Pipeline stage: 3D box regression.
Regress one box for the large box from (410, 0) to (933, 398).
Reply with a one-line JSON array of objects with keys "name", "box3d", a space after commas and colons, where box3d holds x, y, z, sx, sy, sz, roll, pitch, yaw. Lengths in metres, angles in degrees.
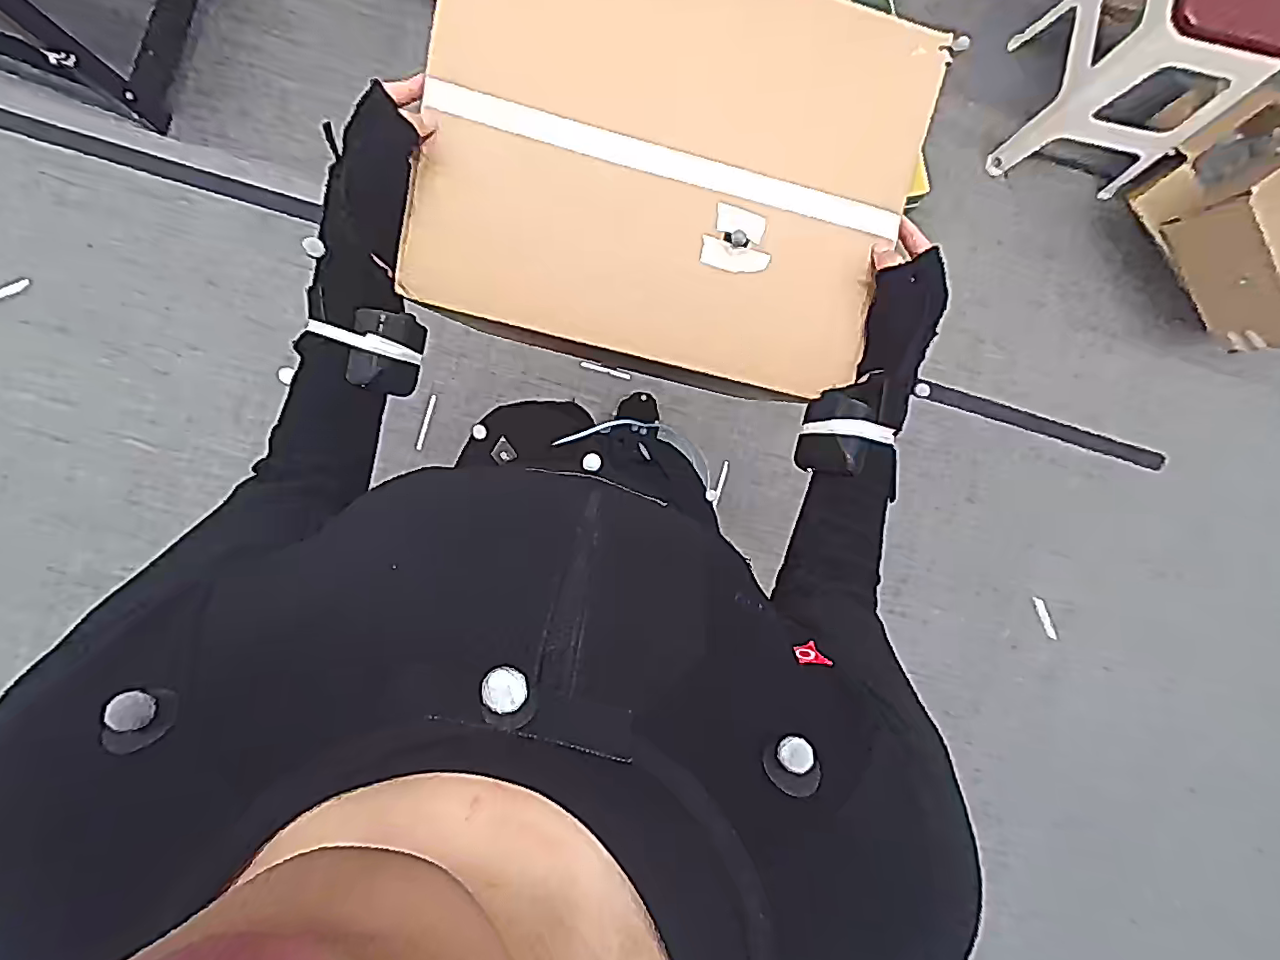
[{"name": "large box", "box3d": [0.012, -0.286, 0.604, 0.408, 0.320, 0.320, 12, 99, -8]}]
